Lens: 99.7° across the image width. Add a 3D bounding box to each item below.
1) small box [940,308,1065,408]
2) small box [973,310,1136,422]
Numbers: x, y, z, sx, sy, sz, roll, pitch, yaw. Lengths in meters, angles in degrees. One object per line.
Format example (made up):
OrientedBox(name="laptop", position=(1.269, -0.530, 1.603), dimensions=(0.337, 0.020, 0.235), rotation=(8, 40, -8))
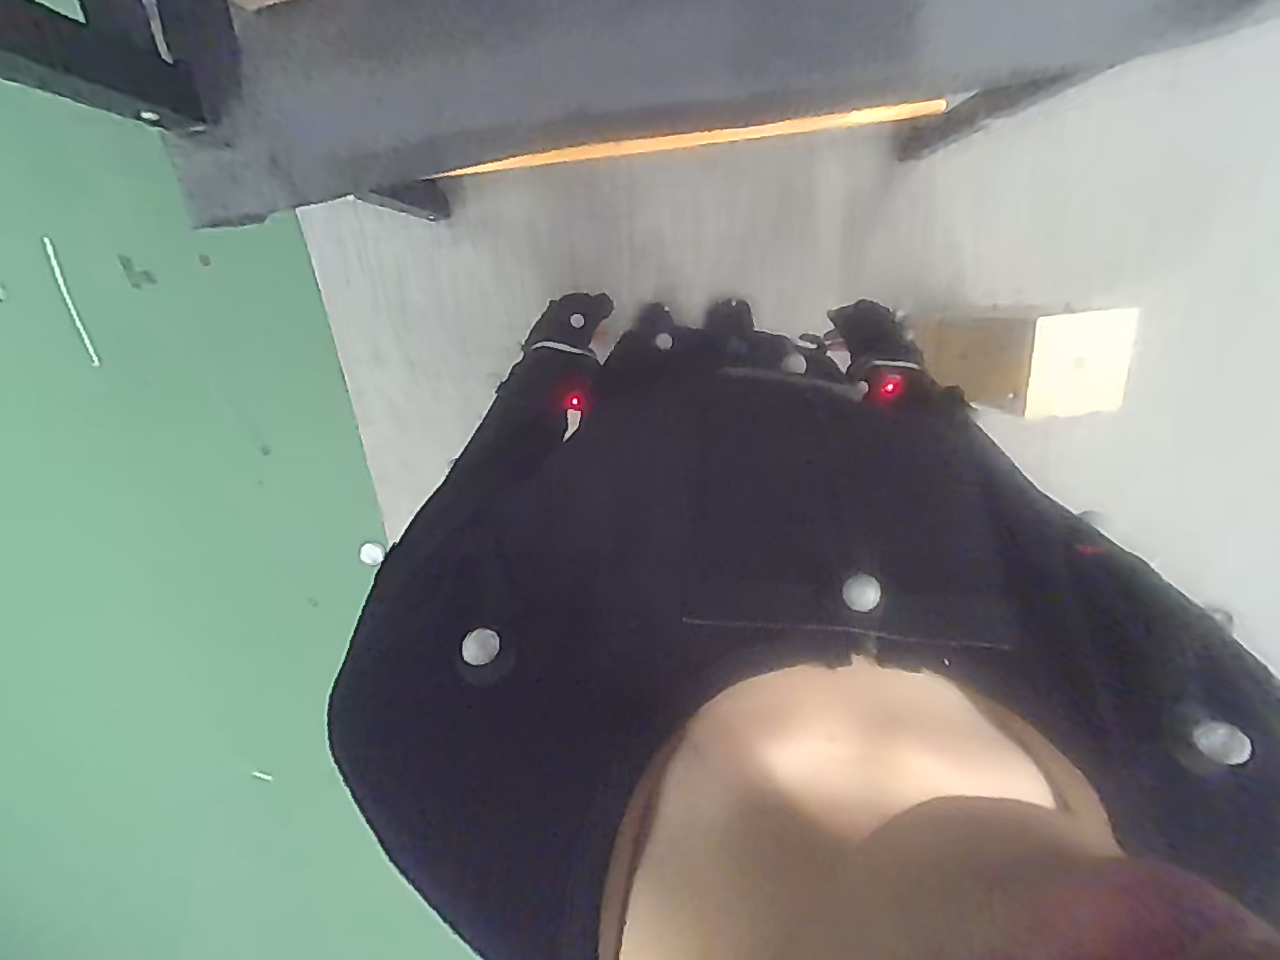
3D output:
OrientedBox(name="small box", position=(0.759, -0.263, 1.143), dimensions=(0.168, 0.176, 0.179), rotation=(-8, 108, 4))
OrientedBox(name="small box", position=(0.740, -0.214, 0.988), dimensions=(0.168, 0.176, 0.179), rotation=(-5, 109, 4))
